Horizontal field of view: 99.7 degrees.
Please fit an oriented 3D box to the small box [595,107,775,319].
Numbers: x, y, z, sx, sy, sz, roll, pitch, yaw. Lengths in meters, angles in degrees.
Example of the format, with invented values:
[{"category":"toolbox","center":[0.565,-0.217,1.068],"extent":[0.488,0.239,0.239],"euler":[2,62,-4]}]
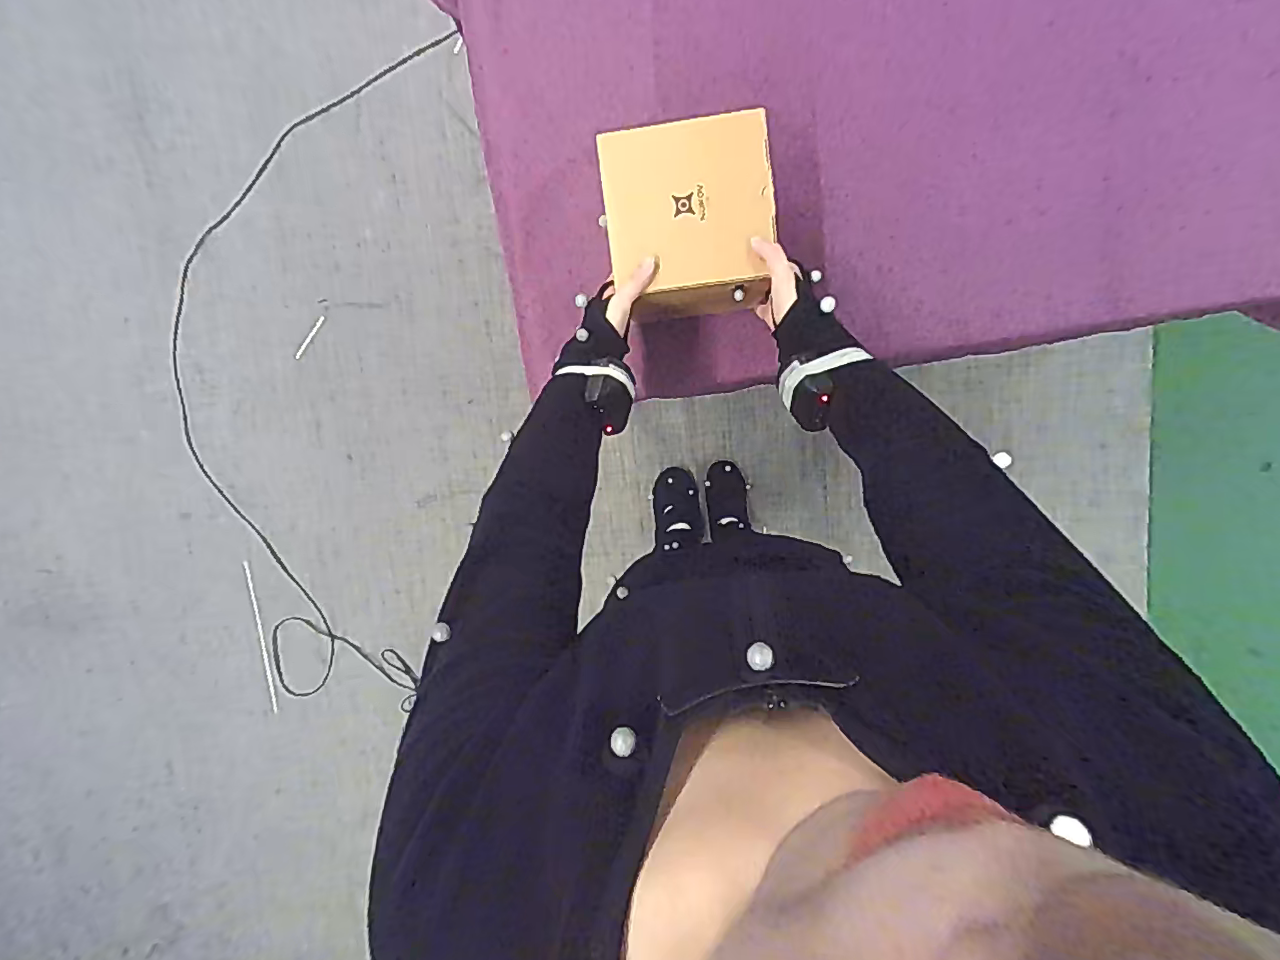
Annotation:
[{"category":"small box","center":[0.054,-0.297,0.642],"extent":[0.179,0.176,0.168],"euler":[-6,96,5]}]
